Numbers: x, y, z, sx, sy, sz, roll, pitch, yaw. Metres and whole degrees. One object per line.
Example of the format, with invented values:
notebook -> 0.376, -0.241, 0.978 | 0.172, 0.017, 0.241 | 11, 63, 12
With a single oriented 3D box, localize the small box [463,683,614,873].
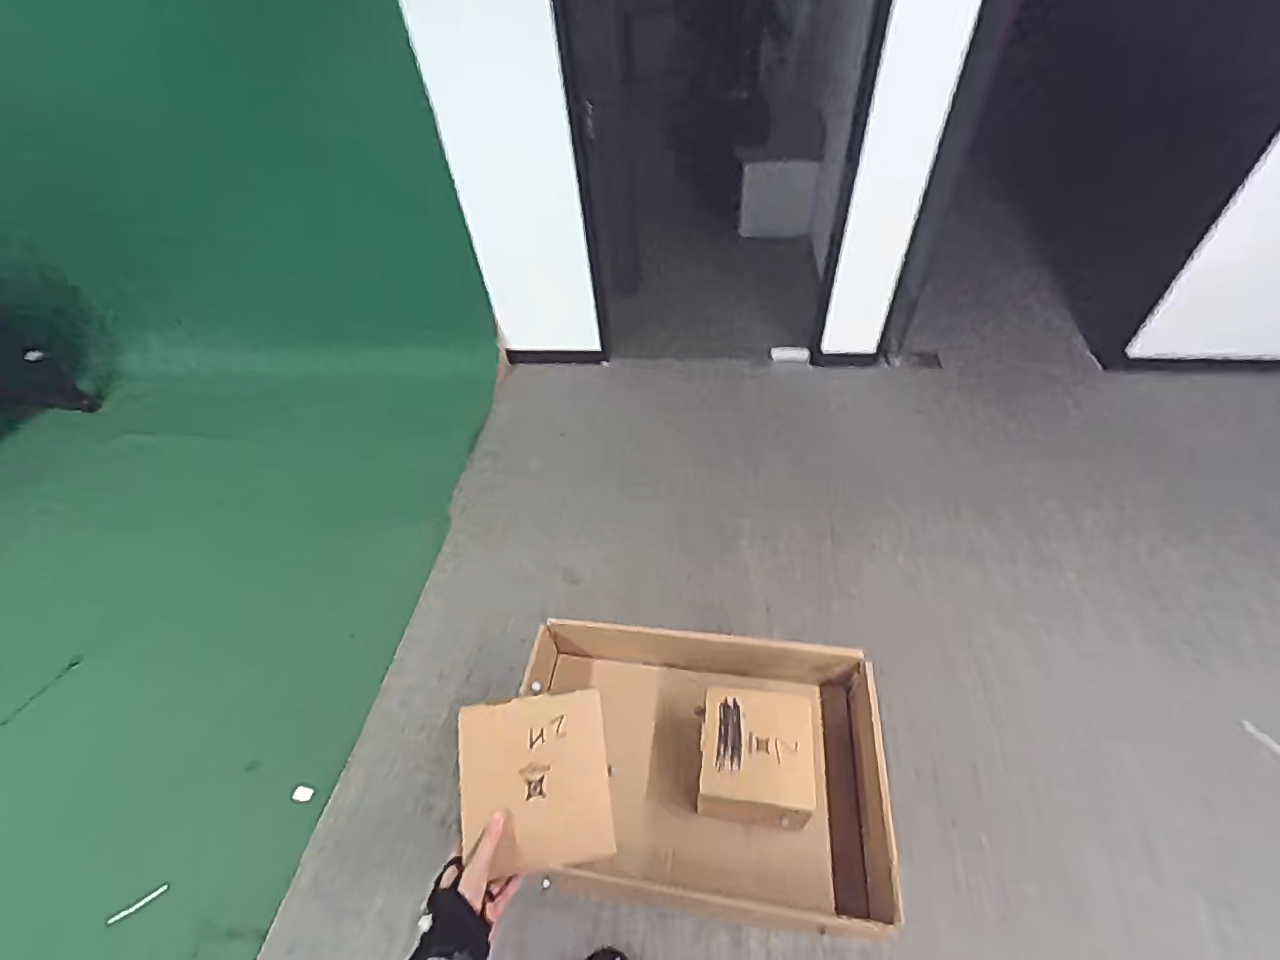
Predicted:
small box -> -0.126, 0.359, 0.687 | 0.168, 0.176, 0.179 | -4, 69, -10
